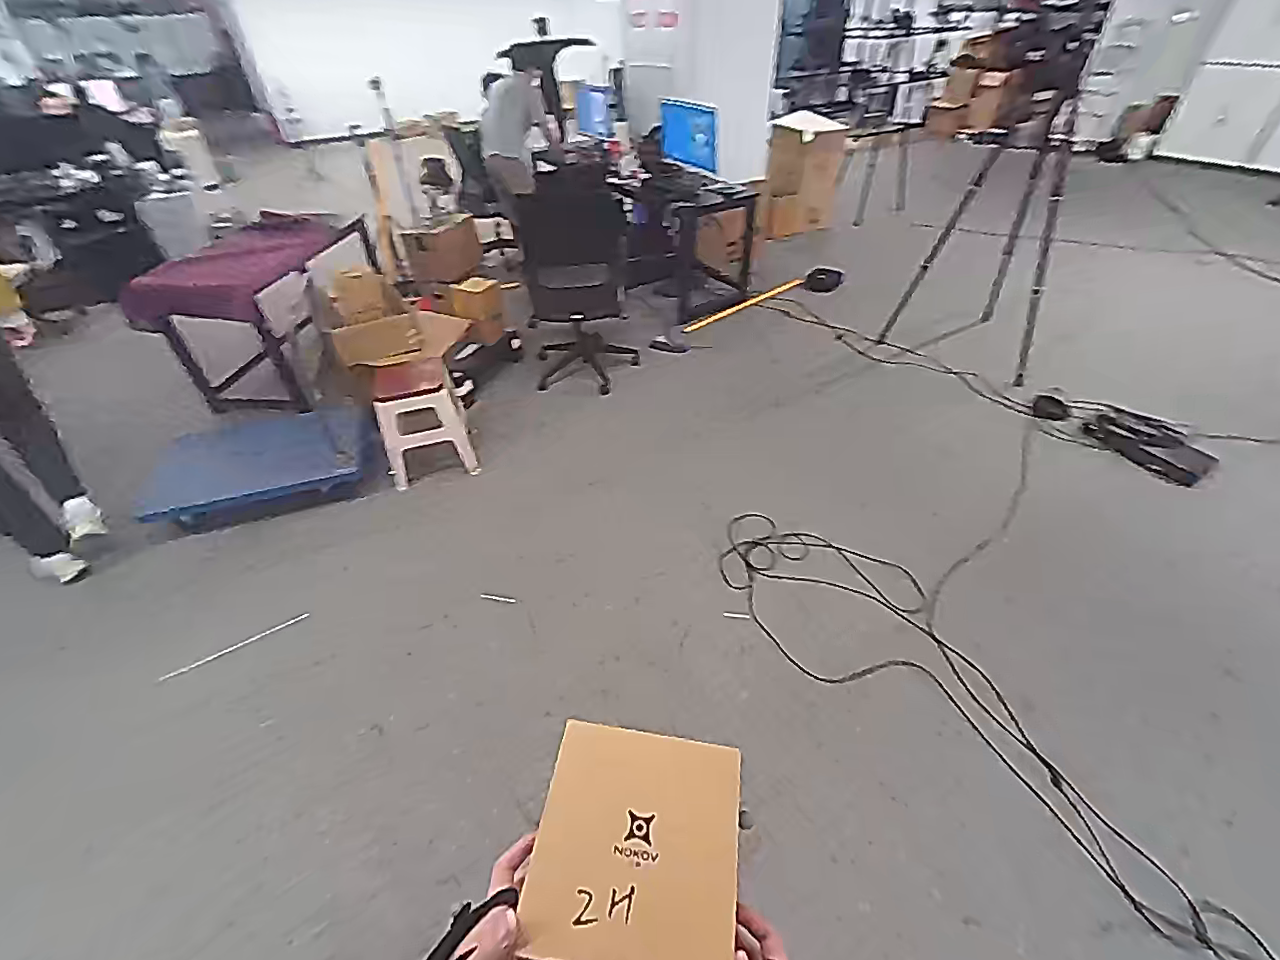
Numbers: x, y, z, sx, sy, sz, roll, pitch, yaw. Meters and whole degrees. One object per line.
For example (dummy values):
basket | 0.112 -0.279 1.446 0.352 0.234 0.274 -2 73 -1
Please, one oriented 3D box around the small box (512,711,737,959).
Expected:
small box | -0.005 0.351 0.510 0.168 0.176 0.179 7 44 7
